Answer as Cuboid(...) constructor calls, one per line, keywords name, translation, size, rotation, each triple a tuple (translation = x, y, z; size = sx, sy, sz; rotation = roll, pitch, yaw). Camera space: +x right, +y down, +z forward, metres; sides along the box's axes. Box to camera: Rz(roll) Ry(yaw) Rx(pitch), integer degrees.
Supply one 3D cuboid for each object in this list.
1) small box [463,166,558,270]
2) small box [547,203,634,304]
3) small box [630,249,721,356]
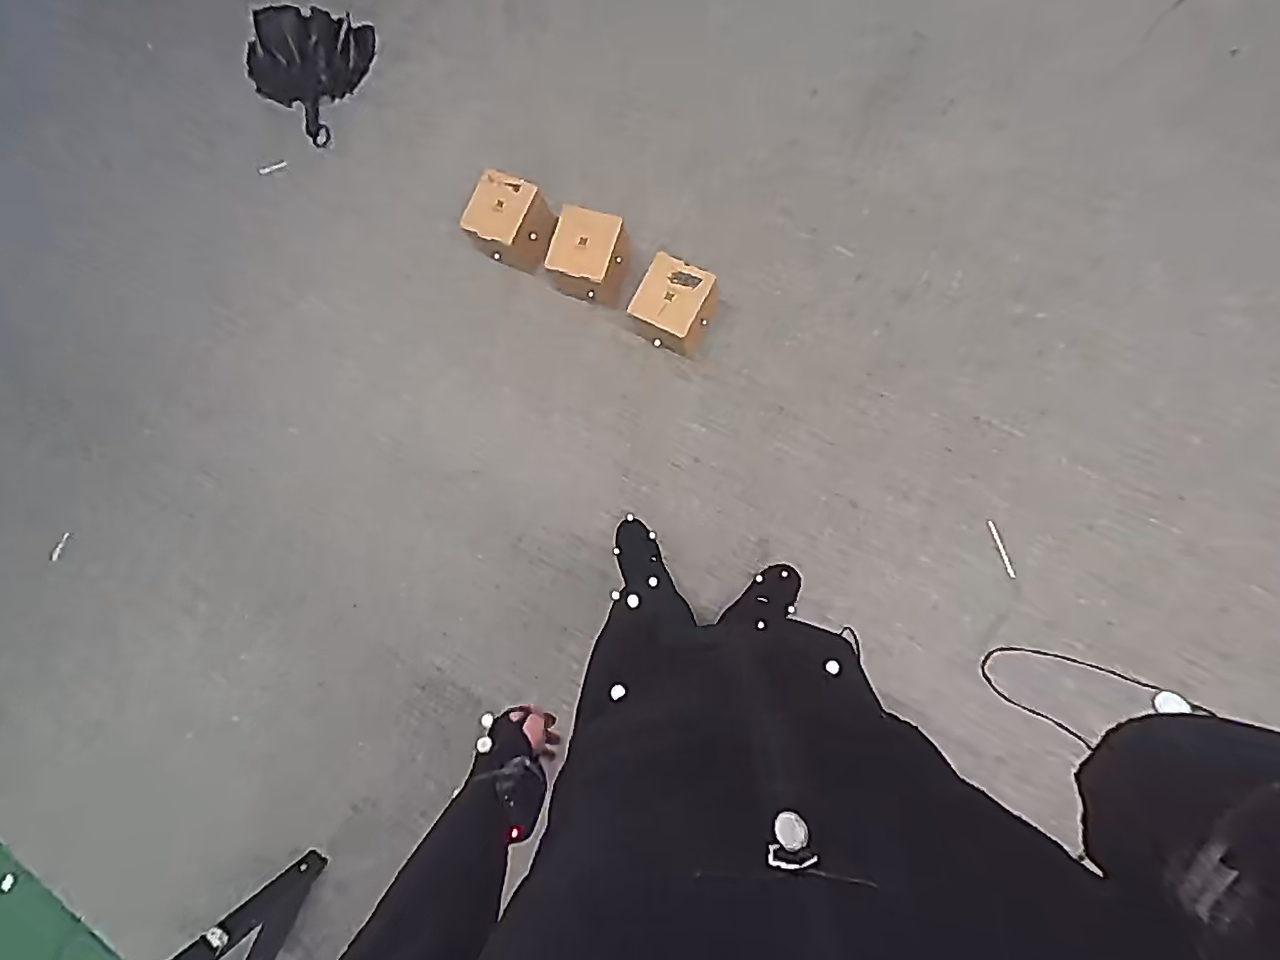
Cuboid(name="small box", translation=(-0.348, -0.717, 1.498), size=(0.168, 0.176, 0.179), rotation=(26, 90, 12))
Cuboid(name="small box", translation=(-0.125, -0.599, 1.449), size=(0.168, 0.176, 0.179), rotation=(18, 86, 10))
Cuboid(name="small box", translation=(0.097, -0.451, 1.393), size=(0.168, 0.176, 0.179), rotation=(29, 91, 12))
